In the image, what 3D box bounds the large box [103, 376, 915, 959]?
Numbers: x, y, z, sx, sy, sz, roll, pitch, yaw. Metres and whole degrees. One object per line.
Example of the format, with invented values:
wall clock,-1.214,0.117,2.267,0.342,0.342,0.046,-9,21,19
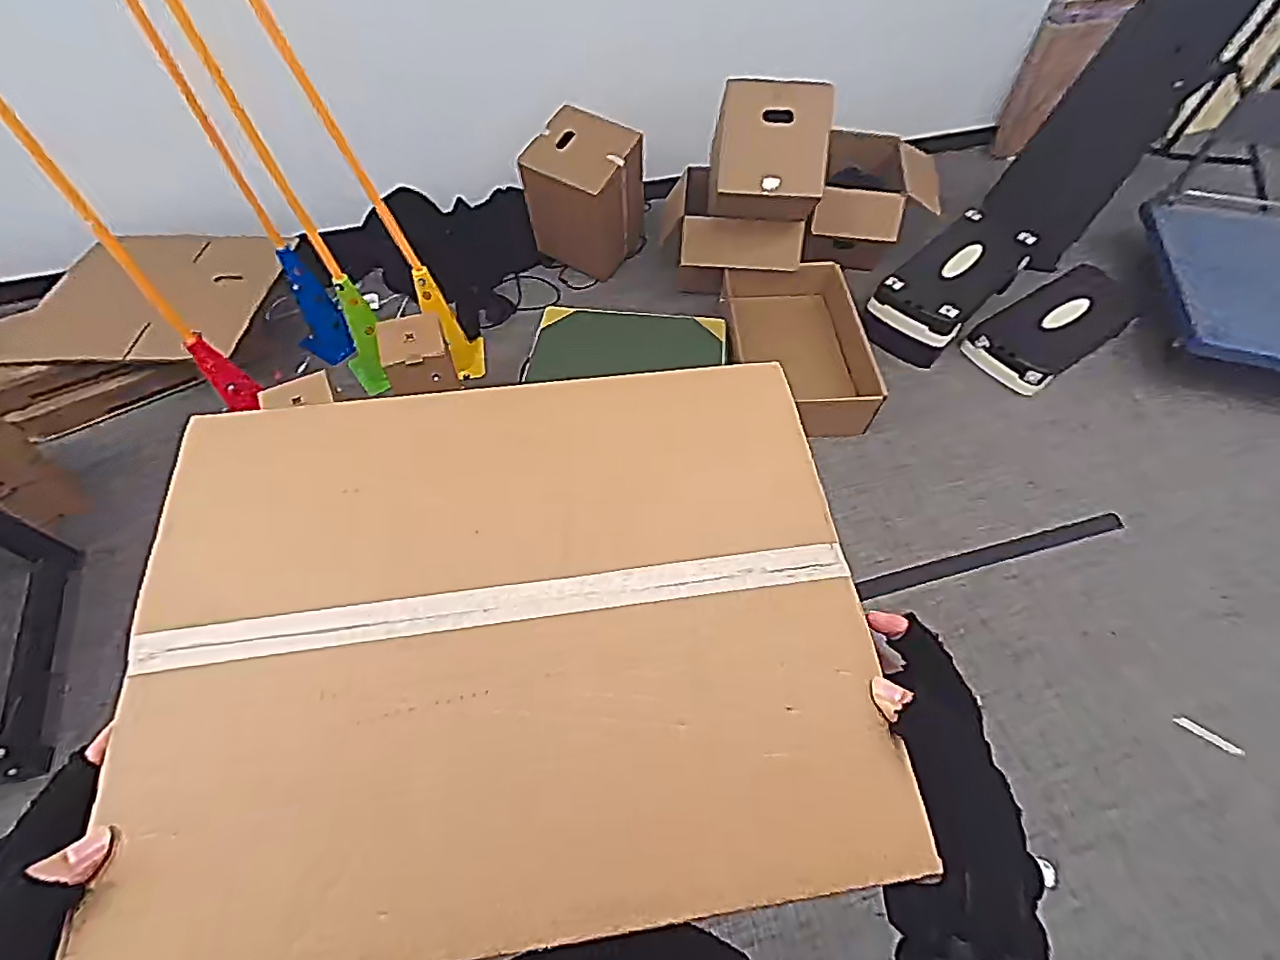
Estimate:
large box,-0.078,0.146,0.460,0.408,0.320,0.320,-6,65,-5
